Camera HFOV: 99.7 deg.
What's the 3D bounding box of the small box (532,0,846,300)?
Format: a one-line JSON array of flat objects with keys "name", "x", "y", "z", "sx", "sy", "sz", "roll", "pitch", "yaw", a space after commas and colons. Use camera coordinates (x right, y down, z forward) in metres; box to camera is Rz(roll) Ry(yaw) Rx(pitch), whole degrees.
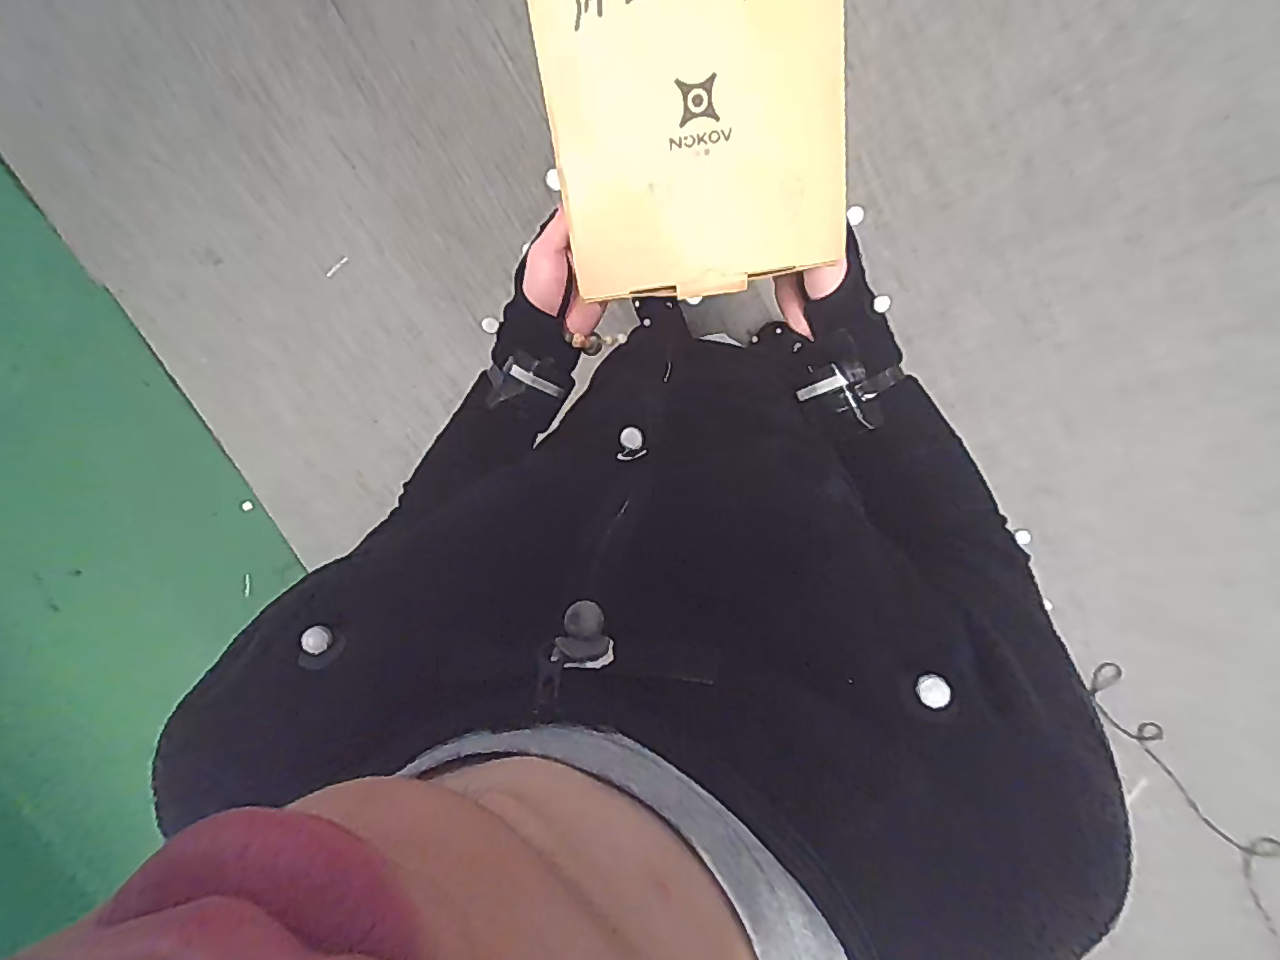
[{"name": "small box", "x": 0.028, "y": -0.233, "z": 0.375, "sx": 0.168, "sy": 0.176, "sz": 0.179, "roll": -8, "pitch": 113, "yaw": 0}]
